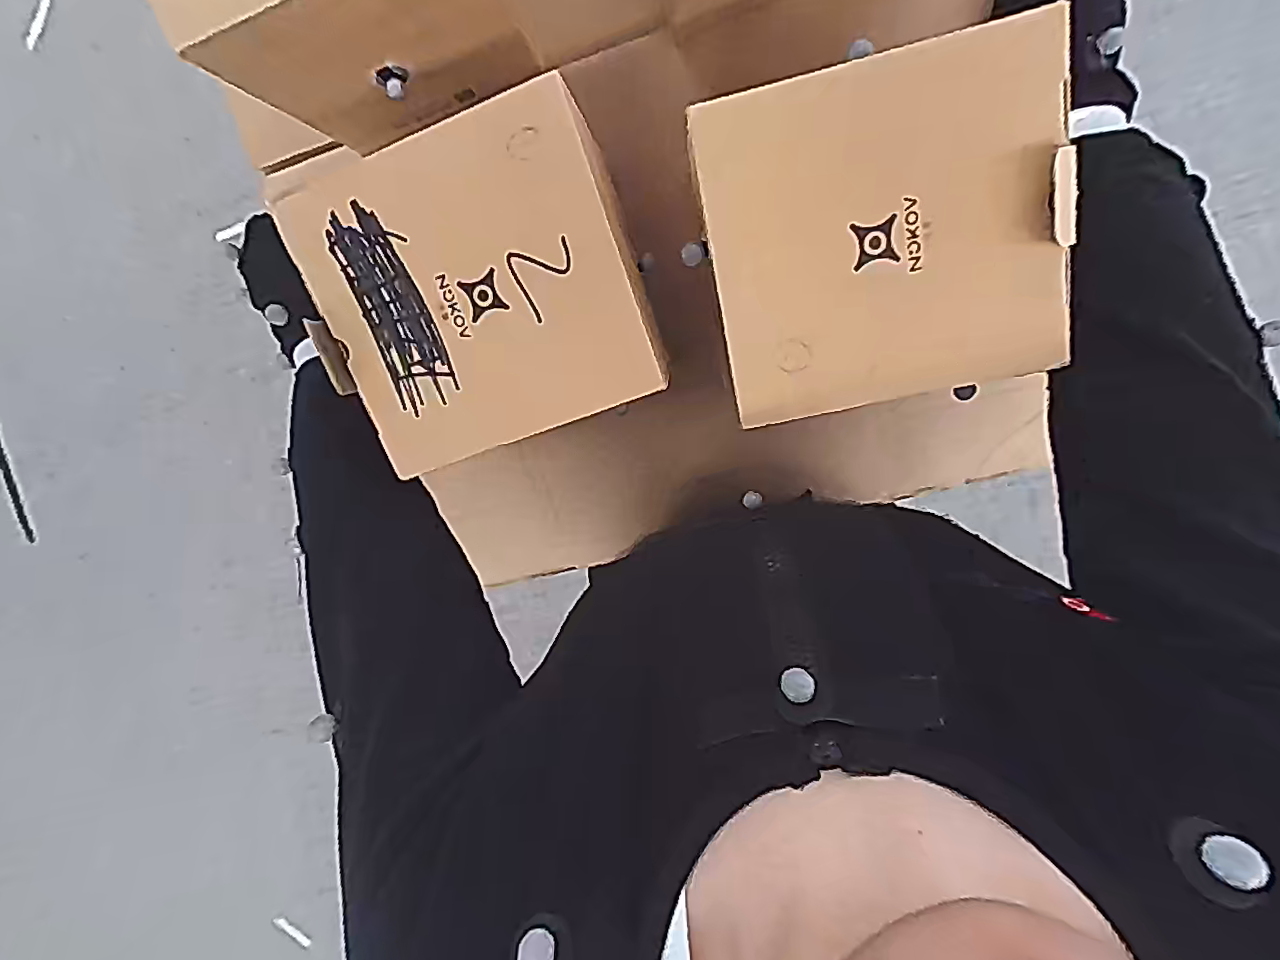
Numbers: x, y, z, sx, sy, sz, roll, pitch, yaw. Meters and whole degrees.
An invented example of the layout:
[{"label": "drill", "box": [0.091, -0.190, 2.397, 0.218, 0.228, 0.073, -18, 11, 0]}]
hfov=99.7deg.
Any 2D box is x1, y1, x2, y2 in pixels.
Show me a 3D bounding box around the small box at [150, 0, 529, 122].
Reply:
[{"label": "small box", "box": [-0.185, -0.351, 0.327, 0.168, 0.176, 0.179, -15, 103, 9]}]
